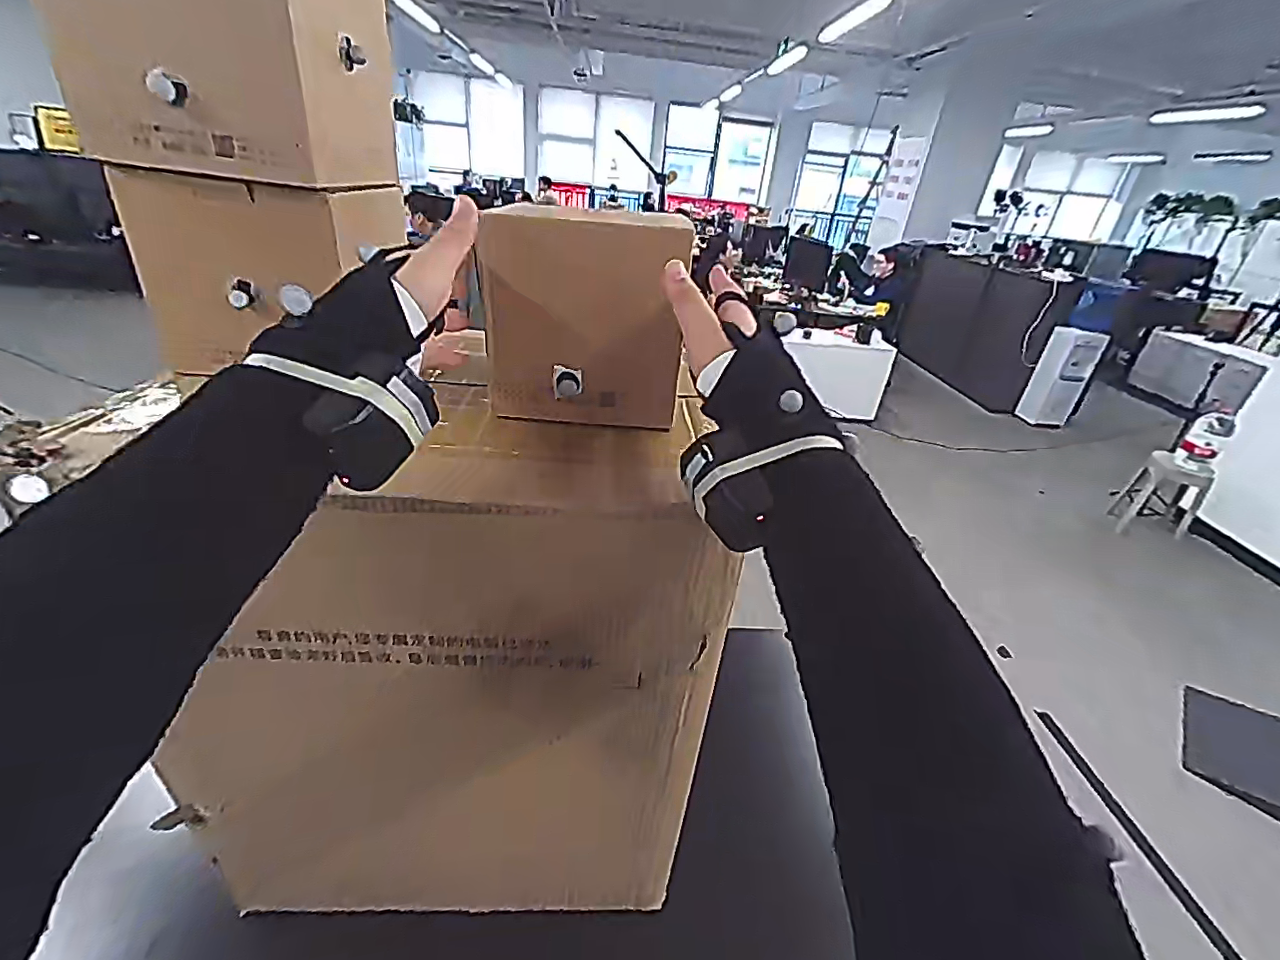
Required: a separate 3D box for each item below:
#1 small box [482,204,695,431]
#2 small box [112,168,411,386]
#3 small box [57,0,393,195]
[{"bbox_3d":[-0.044,-0.161,0.519,0.168,0.176,0.179,3,30,-2],"label":"small box"},{"bbox_3d":[-0.336,-0.202,0.531,0.168,0.176,0.179,5,30,-6],"label":"small box"},{"bbox_3d":[-0.314,-0.336,0.436,0.168,0.176,0.179,5,30,-5],"label":"small box"}]
